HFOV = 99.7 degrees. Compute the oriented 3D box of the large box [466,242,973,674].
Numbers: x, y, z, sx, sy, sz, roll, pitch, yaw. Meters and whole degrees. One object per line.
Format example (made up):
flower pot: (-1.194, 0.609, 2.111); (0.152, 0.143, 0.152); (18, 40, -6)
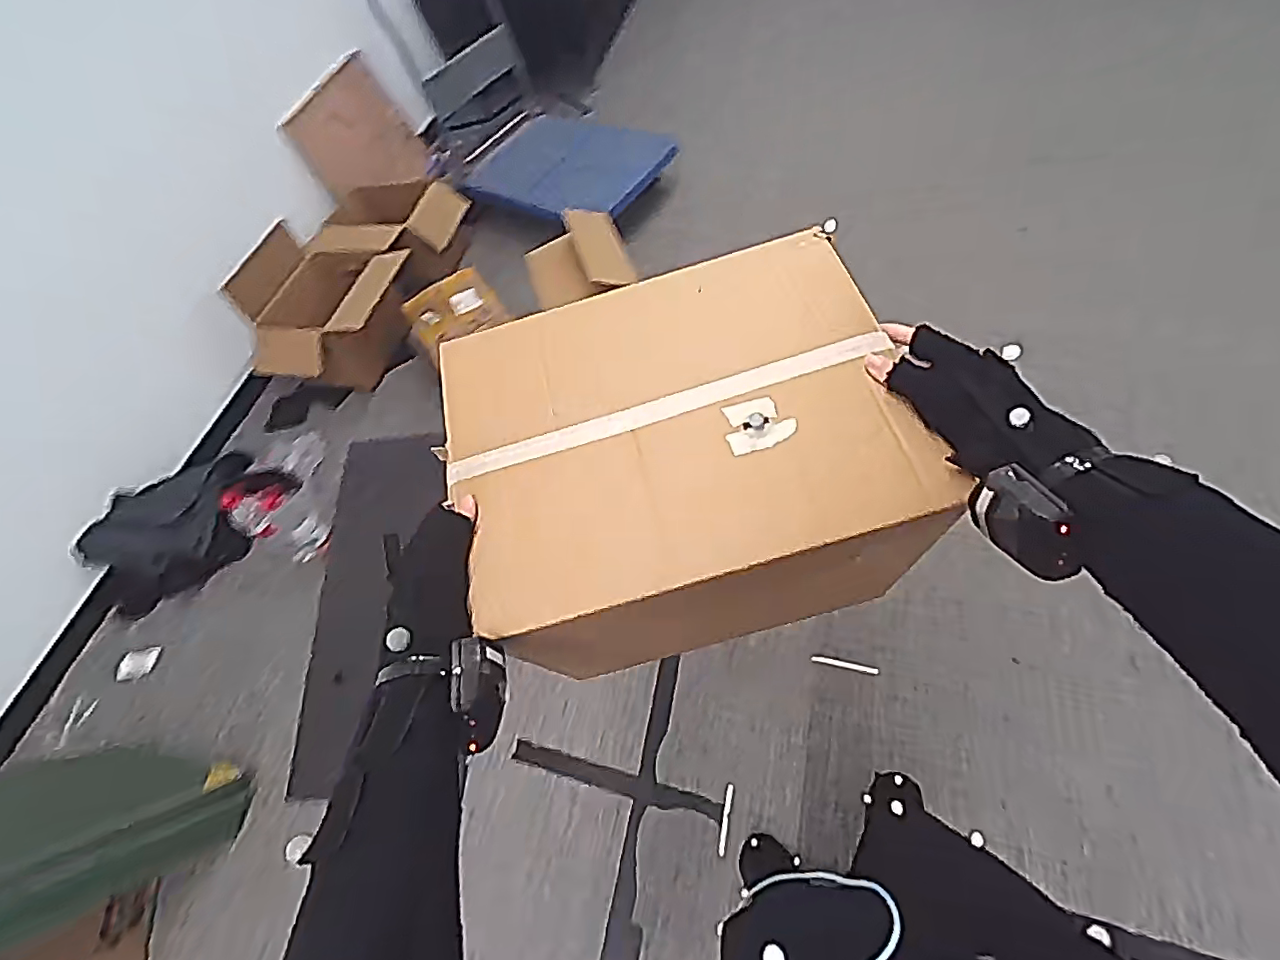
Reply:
large box: (0.062, 0.003, 0.630); (0.408, 0.320, 0.320); (-16, 64, 2)
